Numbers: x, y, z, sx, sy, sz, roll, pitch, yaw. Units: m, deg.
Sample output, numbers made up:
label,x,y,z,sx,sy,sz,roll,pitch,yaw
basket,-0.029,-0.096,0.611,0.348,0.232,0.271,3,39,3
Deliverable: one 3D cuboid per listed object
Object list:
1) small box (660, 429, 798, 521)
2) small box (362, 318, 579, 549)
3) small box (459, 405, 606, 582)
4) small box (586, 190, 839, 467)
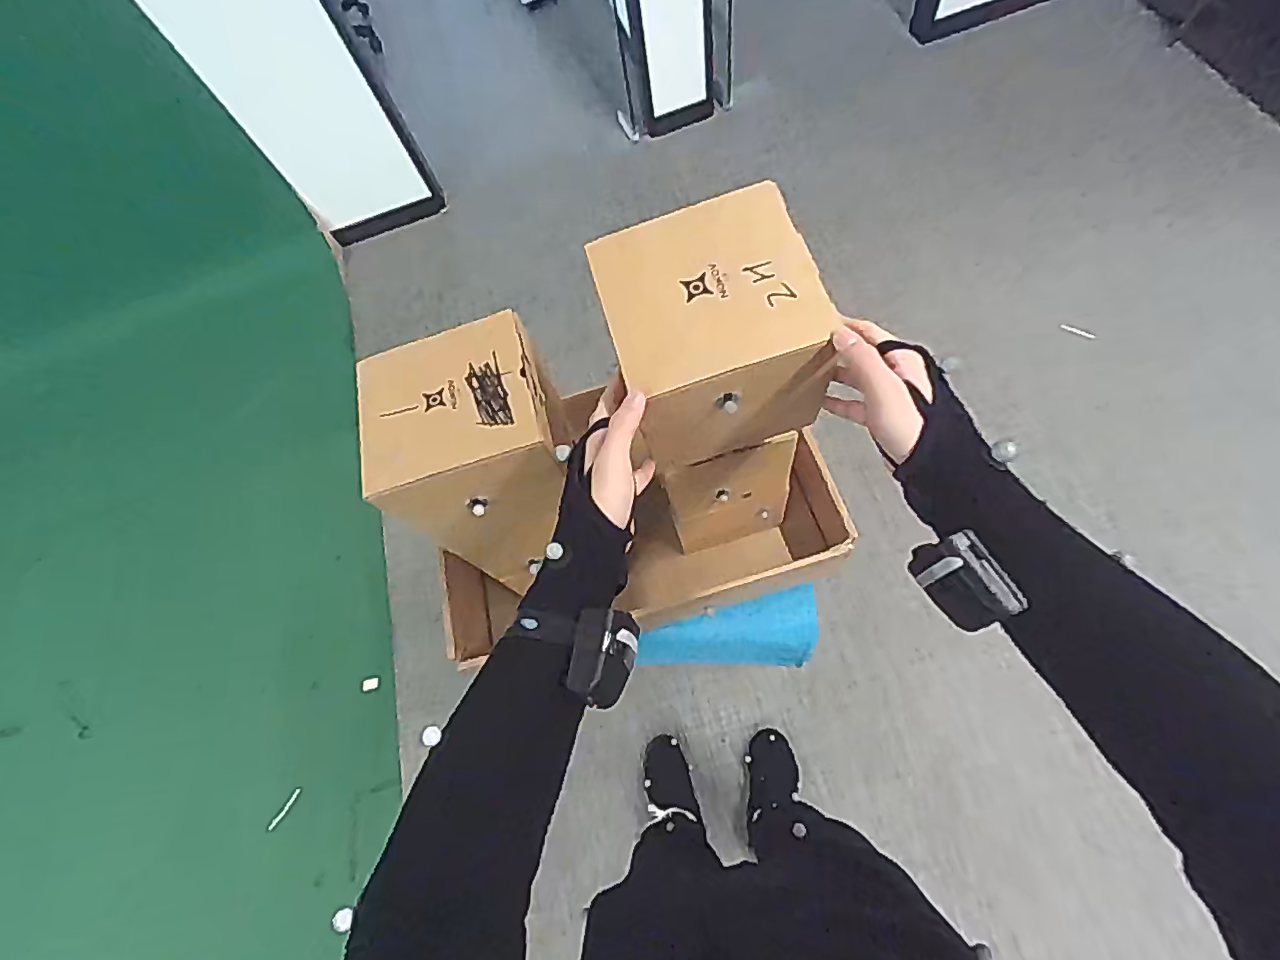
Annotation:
label,x,y,z,sx,sy,sz,roll,pitch,yaw
small box,0.101,-0.067,0.743,0.168,0.176,0.179,-17,64,3
small box,-0.176,-0.041,0.600,0.179,0.176,0.168,-18,63,2
small box,-0.155,0.022,0.749,0.168,0.176,0.179,-16,64,2
small box,0.066,-0.130,0.522,0.179,0.176,0.168,-17,70,4
